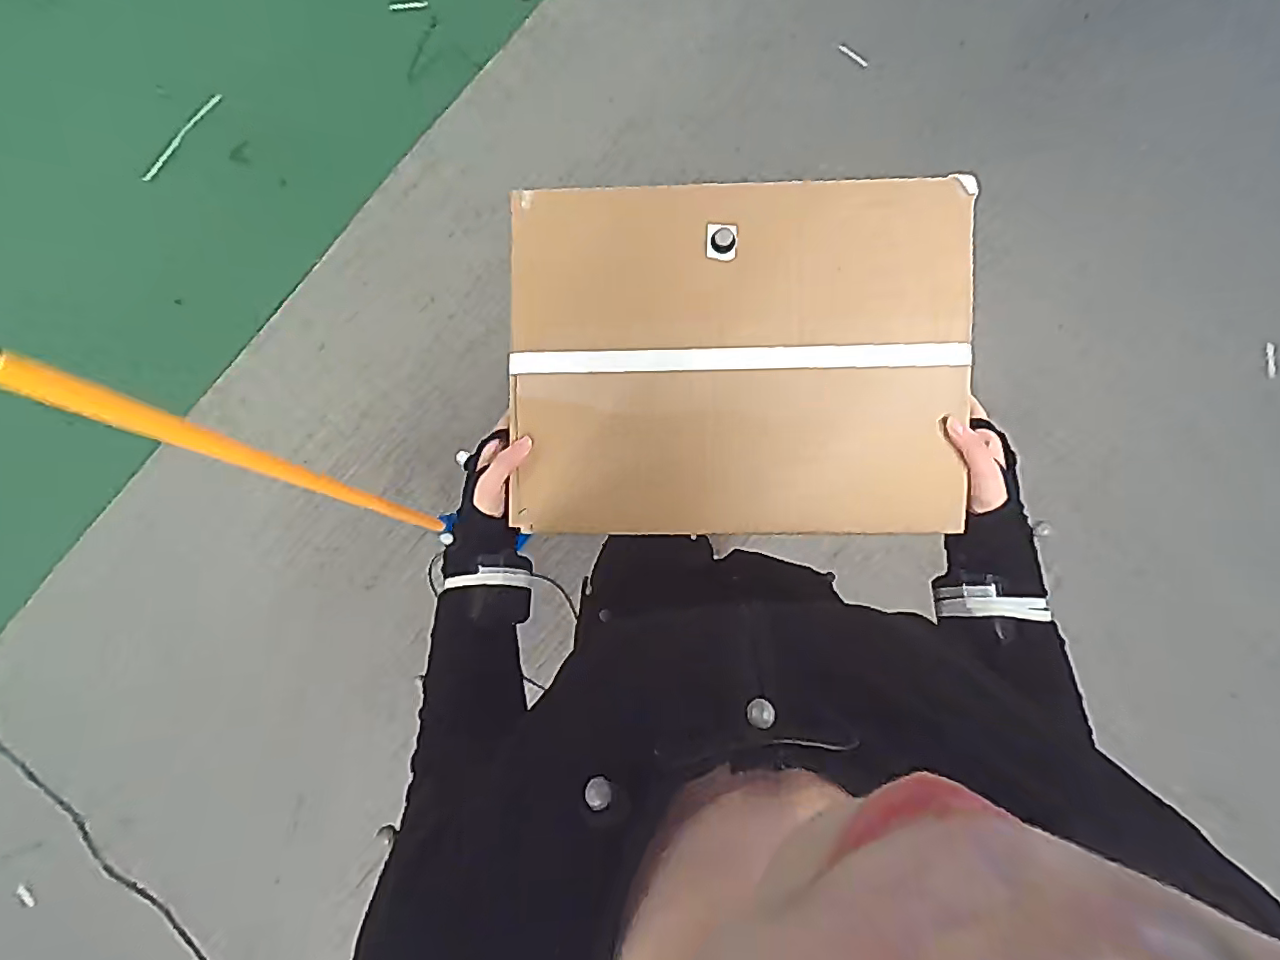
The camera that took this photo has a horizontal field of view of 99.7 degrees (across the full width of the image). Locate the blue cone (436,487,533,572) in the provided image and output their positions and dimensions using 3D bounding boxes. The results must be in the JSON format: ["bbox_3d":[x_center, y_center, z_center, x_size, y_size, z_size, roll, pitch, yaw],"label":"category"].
[{"bbox_3d":[-0.427,0.120,1.360,0.192,0.380,0.193,37,87,6],"label":"blue cone"}]
